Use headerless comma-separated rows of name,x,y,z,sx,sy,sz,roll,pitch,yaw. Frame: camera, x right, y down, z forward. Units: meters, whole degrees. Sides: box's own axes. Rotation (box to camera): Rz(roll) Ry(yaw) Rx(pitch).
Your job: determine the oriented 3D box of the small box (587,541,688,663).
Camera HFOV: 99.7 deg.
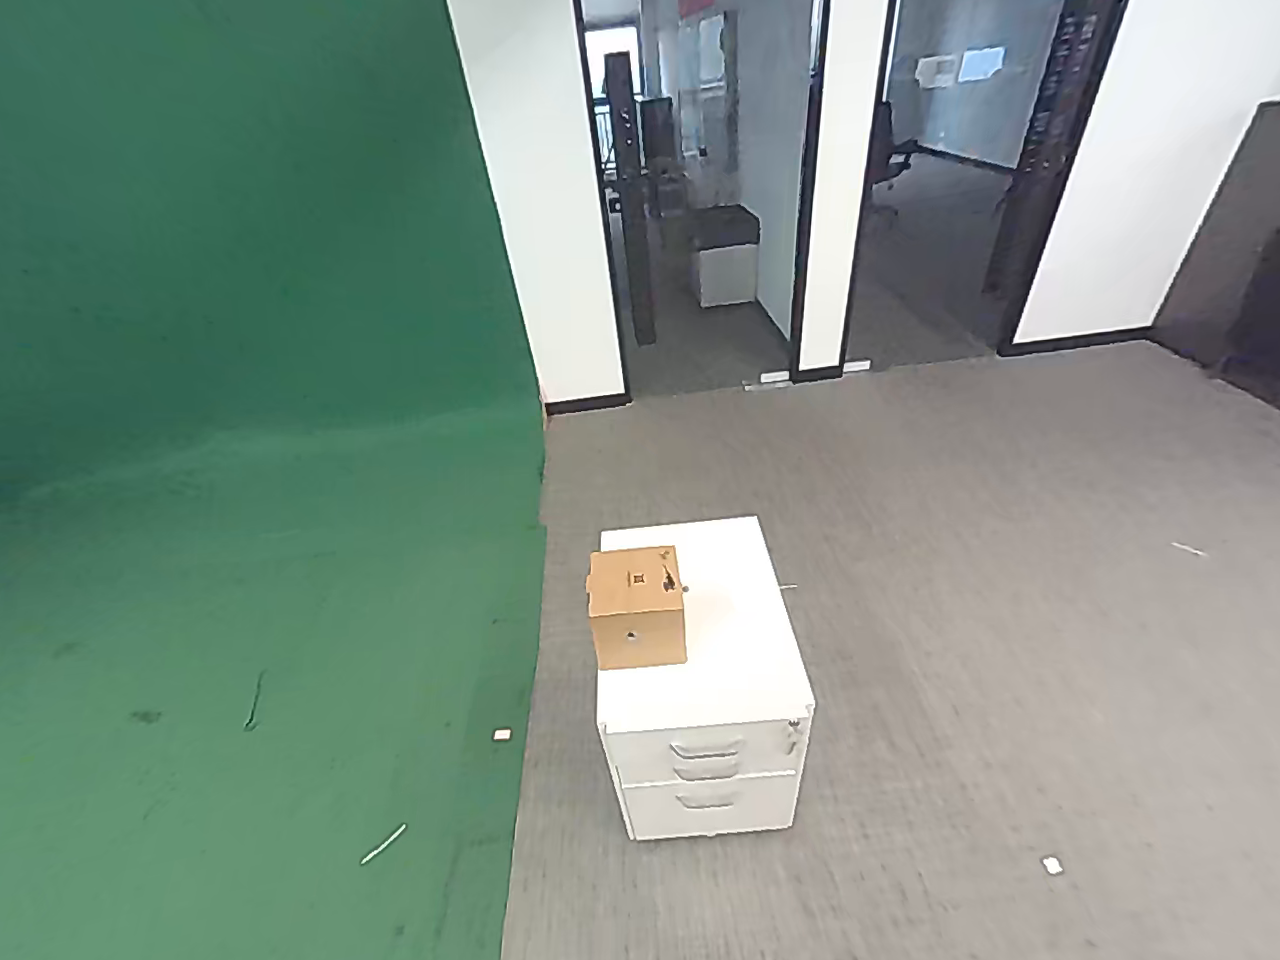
small box,-0.003,0.243,1.067,0.179,0.176,0.168,-6,38,1
